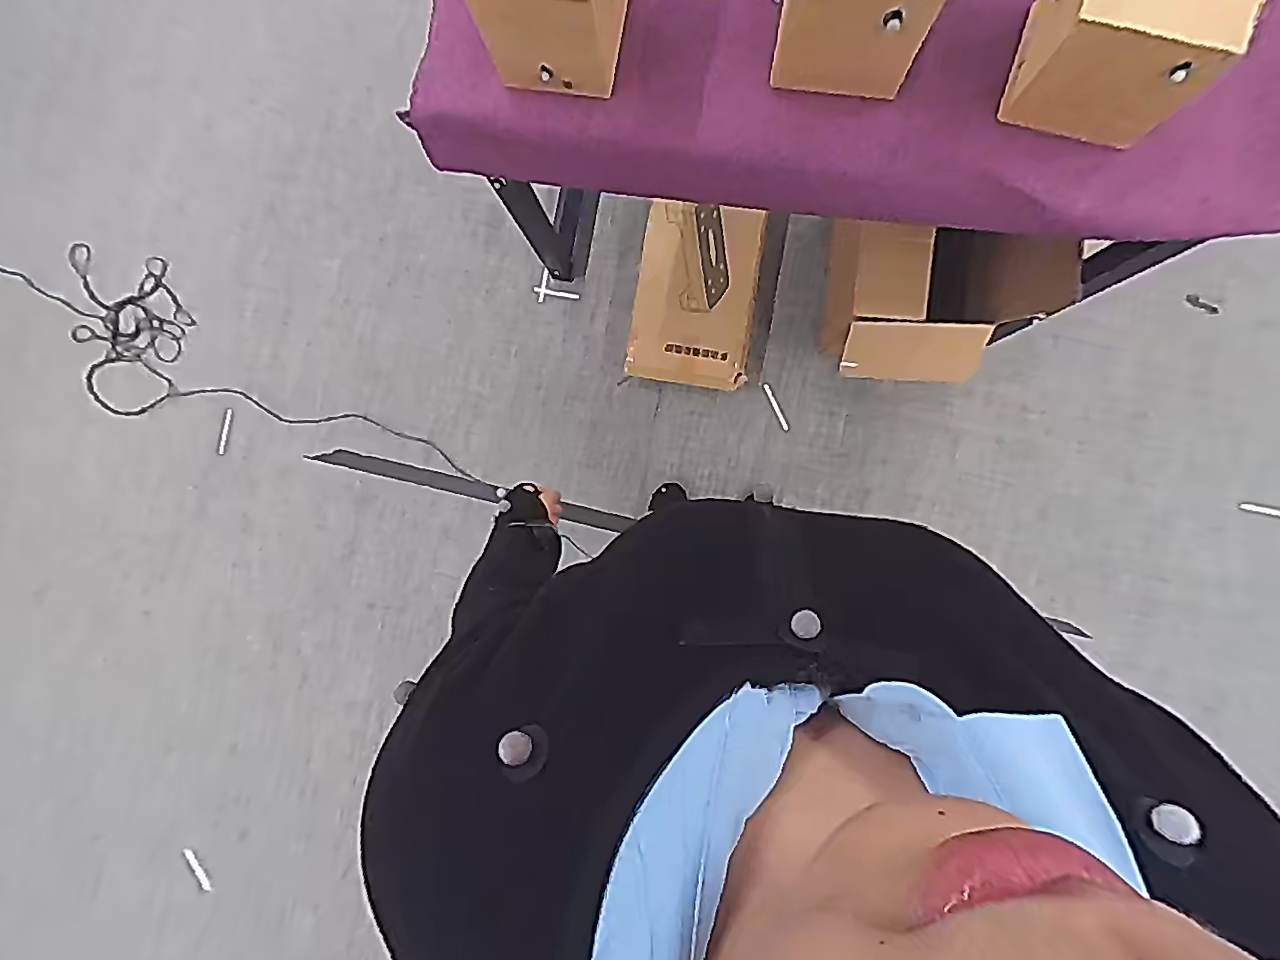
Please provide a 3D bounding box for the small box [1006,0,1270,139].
[{"bbox_3d":[0.588,-0.550,0.649,0.179,0.176,0.168,17,91,5],"label":"small box"}]

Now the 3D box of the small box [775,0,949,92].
[{"bbox_3d":[0.280,-0.628,0.676,0.179,0.176,0.168,10,88,5],"label":"small box"}]
